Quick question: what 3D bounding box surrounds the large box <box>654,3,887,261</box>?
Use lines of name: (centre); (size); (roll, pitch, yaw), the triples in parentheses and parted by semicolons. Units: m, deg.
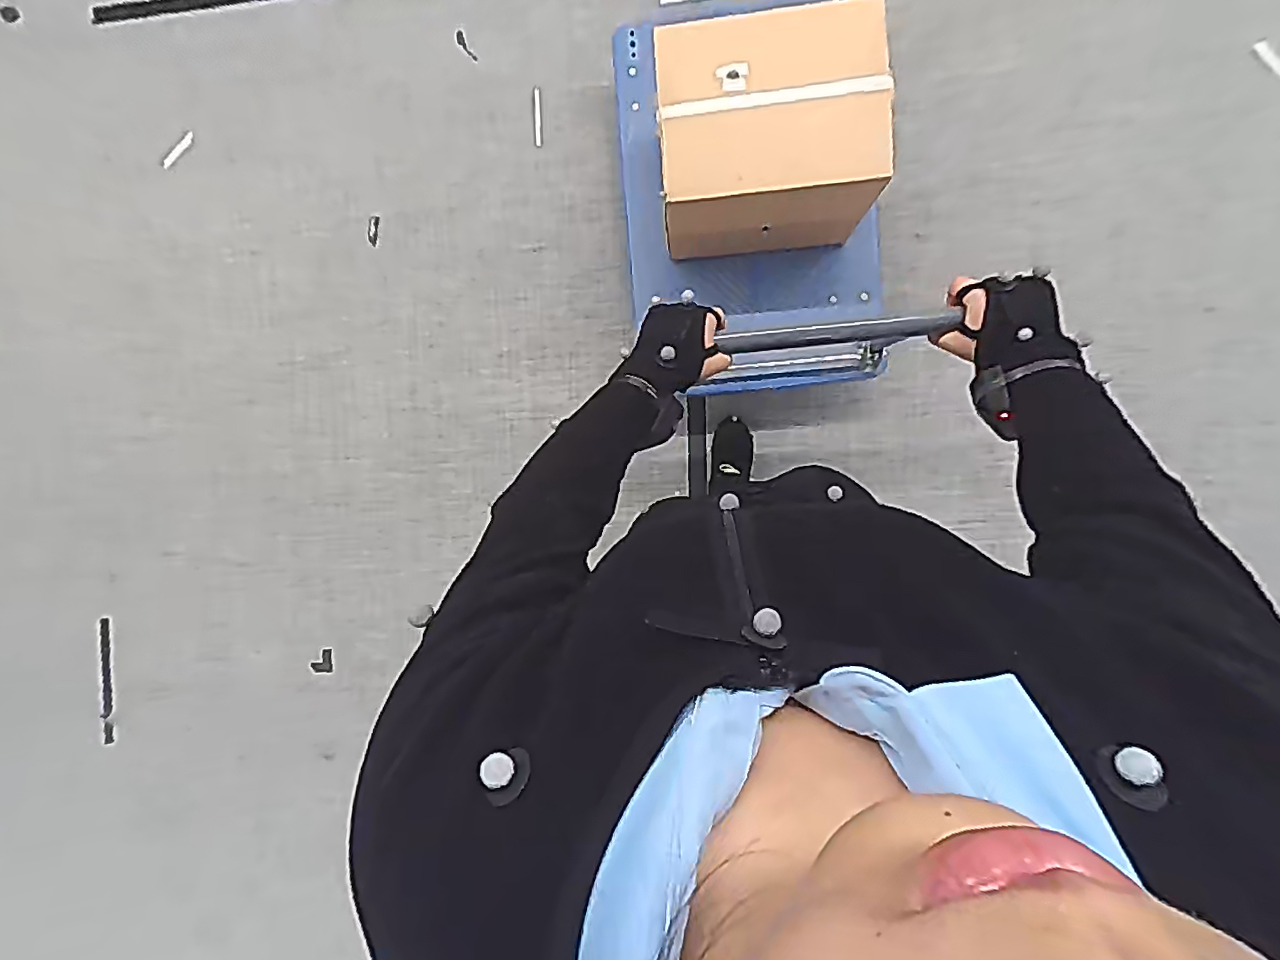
large box: (0.253, -0.685, 1.130); (0.408, 0.320, 0.320); (-4, 92, 7)
